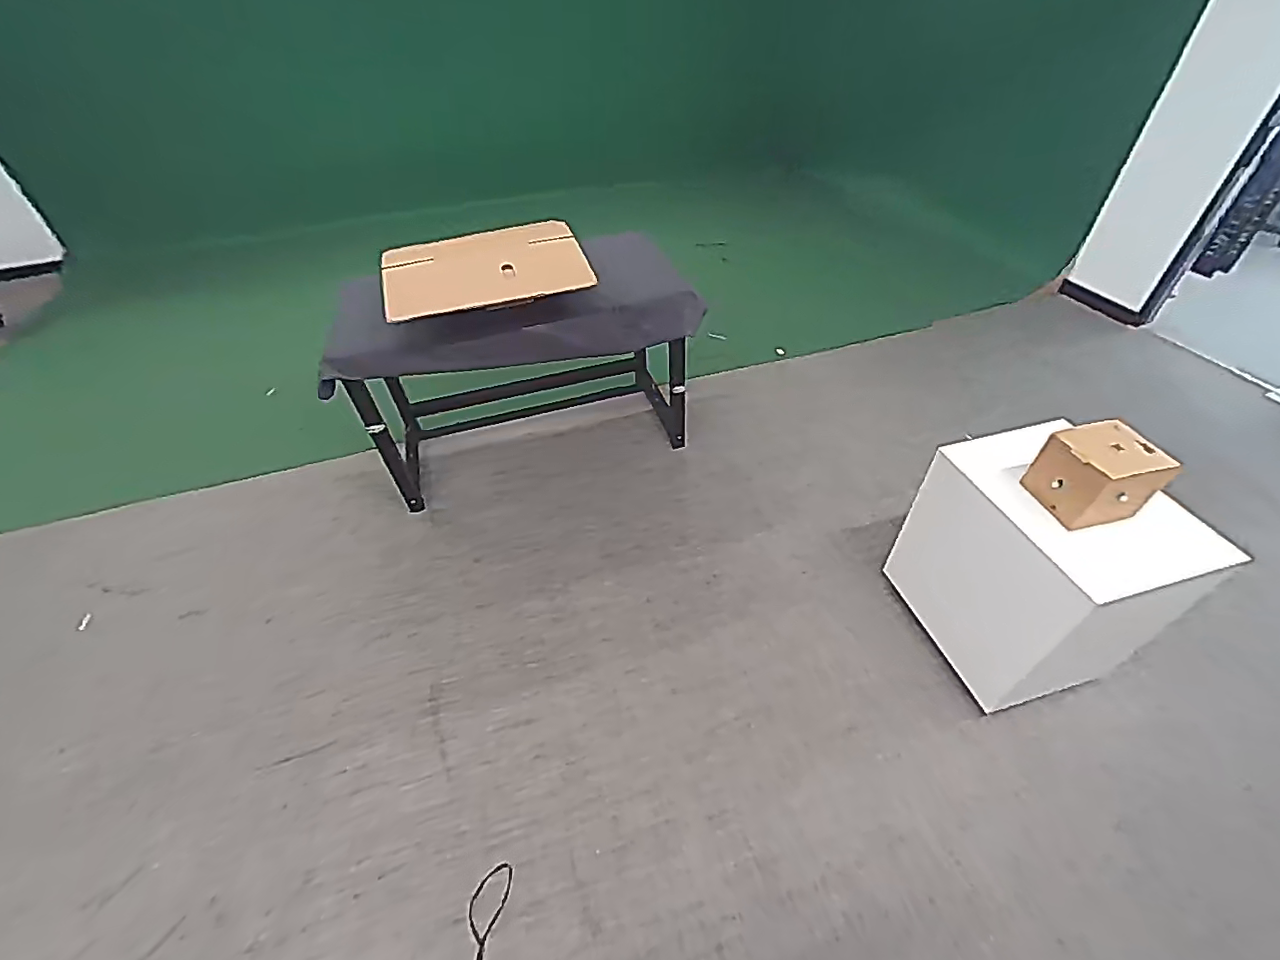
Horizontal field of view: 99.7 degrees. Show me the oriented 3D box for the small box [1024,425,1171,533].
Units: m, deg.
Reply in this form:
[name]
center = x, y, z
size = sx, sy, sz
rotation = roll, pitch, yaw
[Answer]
[small box]
center = 1.033, 0.000, 1.246
size = 0.179, 0.176, 0.168
rotation = -12, 45, -10
